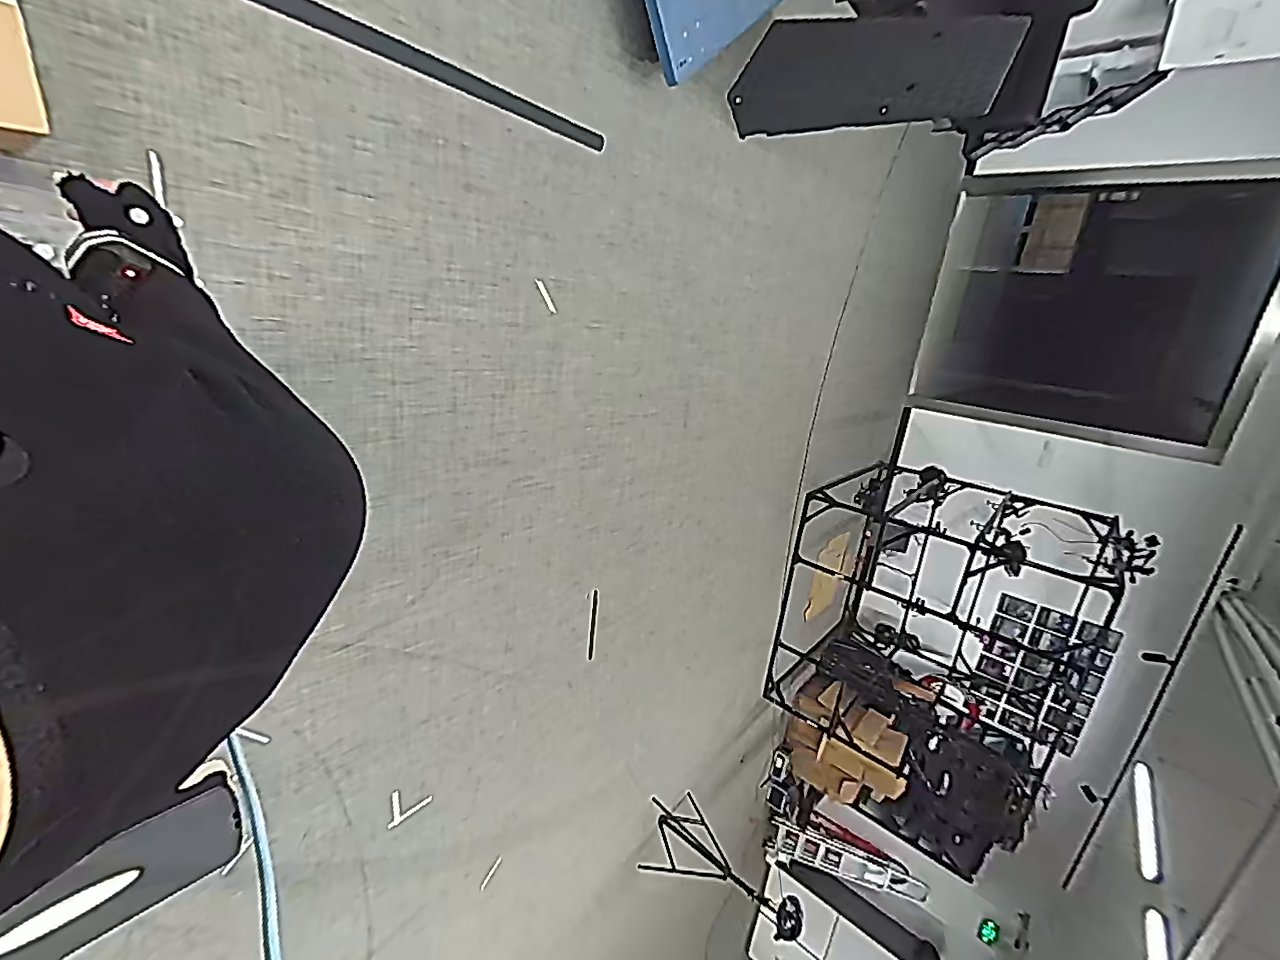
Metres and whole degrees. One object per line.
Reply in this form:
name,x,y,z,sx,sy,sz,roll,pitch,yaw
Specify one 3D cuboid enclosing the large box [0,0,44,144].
large box,-1.066,-0.630,0.643,0.408,0.320,0.320,-20,122,-49
